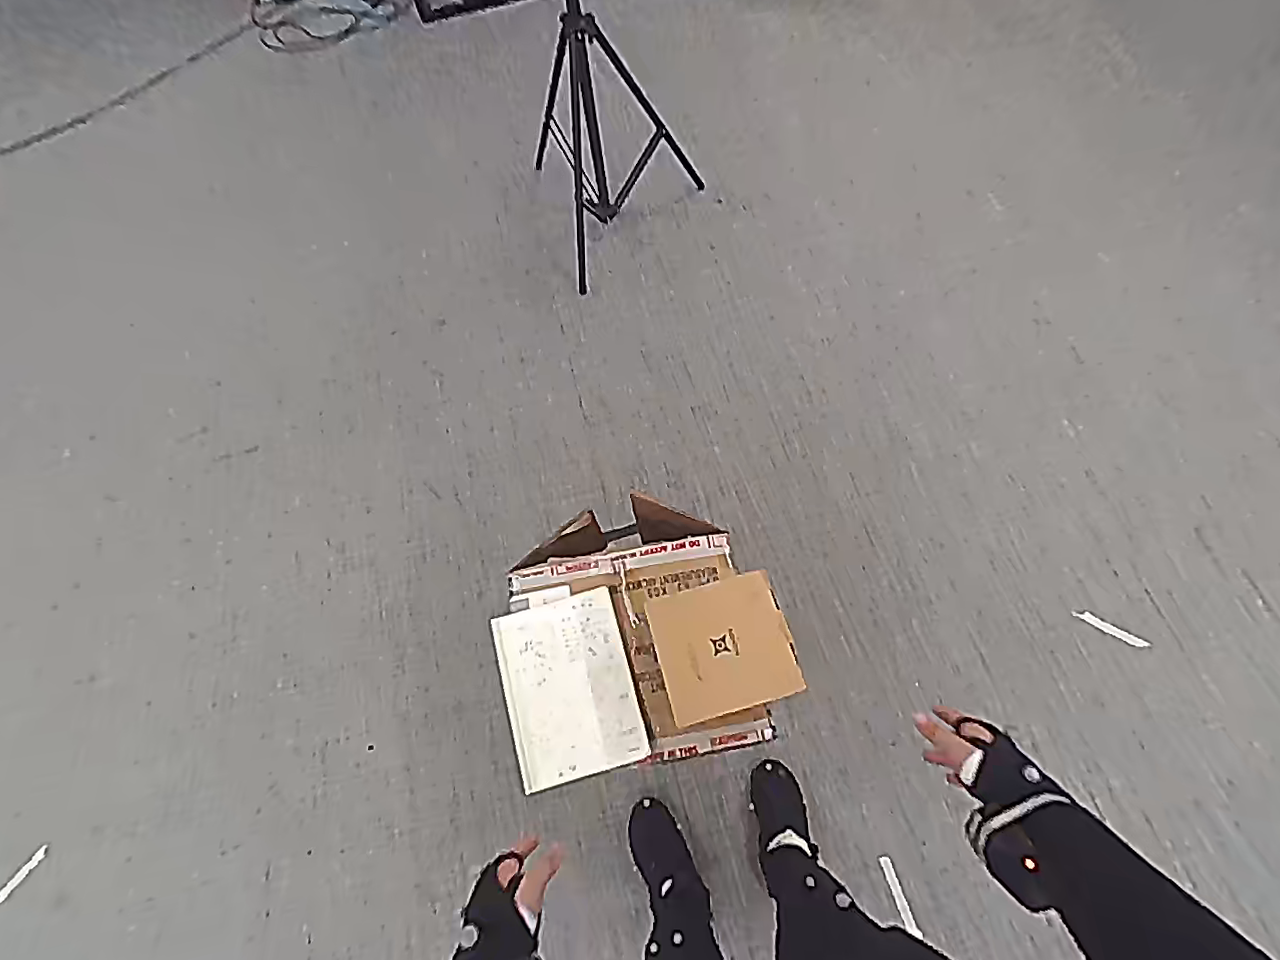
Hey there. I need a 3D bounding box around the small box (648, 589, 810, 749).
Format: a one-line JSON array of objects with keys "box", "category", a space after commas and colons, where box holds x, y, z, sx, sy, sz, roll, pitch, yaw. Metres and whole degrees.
[{"box": [0.116, 0.270, 0.785, 0.179, 0.176, 0.168, -16, 70, -3], "category": "small box"}]
